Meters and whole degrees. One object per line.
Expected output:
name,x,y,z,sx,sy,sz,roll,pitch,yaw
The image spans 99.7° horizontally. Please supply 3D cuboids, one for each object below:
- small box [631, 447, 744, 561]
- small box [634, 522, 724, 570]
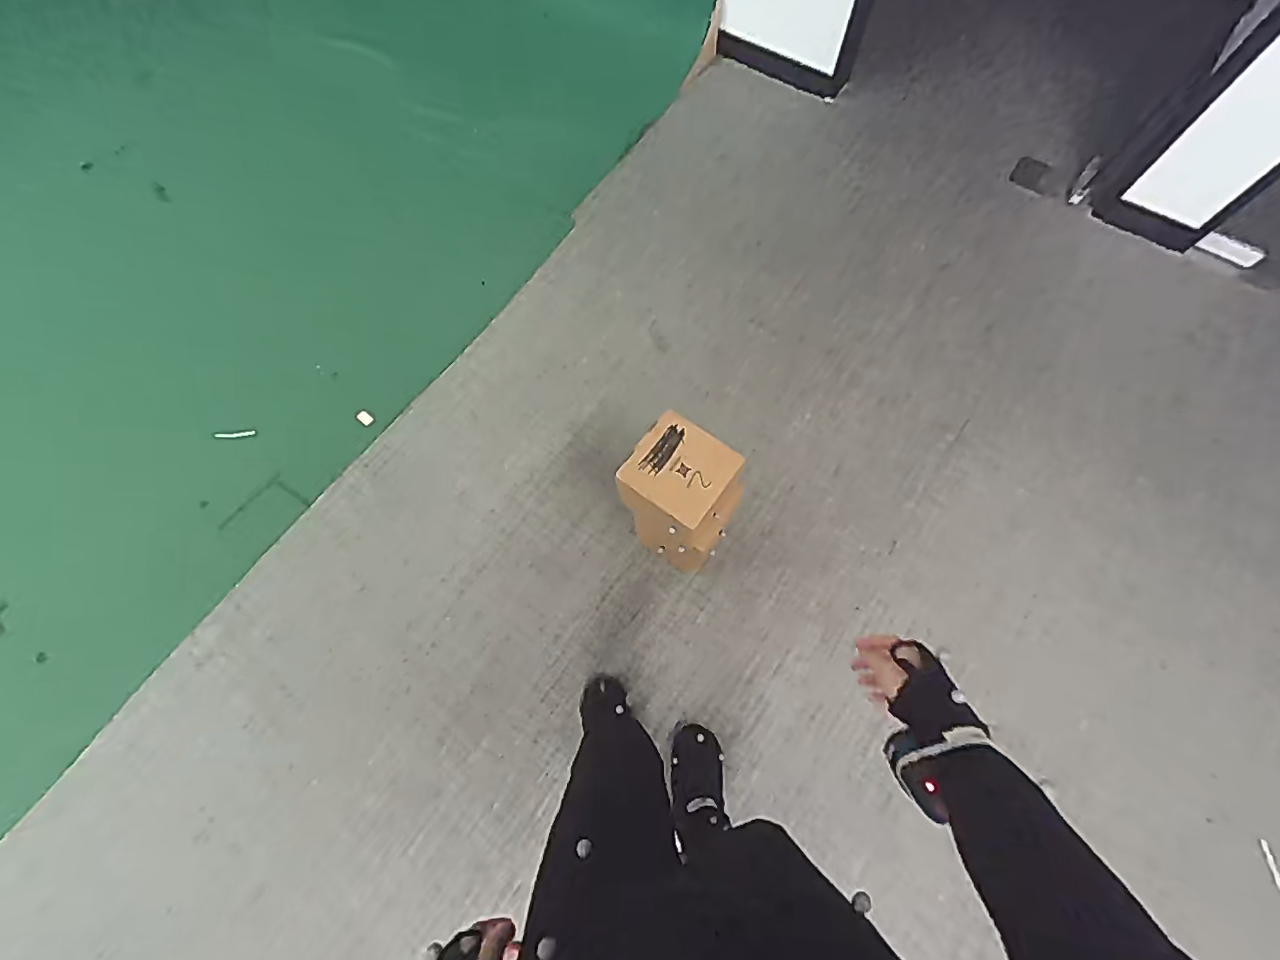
small box,0.101,0.062,1.182,0.179,0.176,0.168,33,76,13
small box,0.105,0.110,1.340,0.179,0.176,0.168,32,76,13
